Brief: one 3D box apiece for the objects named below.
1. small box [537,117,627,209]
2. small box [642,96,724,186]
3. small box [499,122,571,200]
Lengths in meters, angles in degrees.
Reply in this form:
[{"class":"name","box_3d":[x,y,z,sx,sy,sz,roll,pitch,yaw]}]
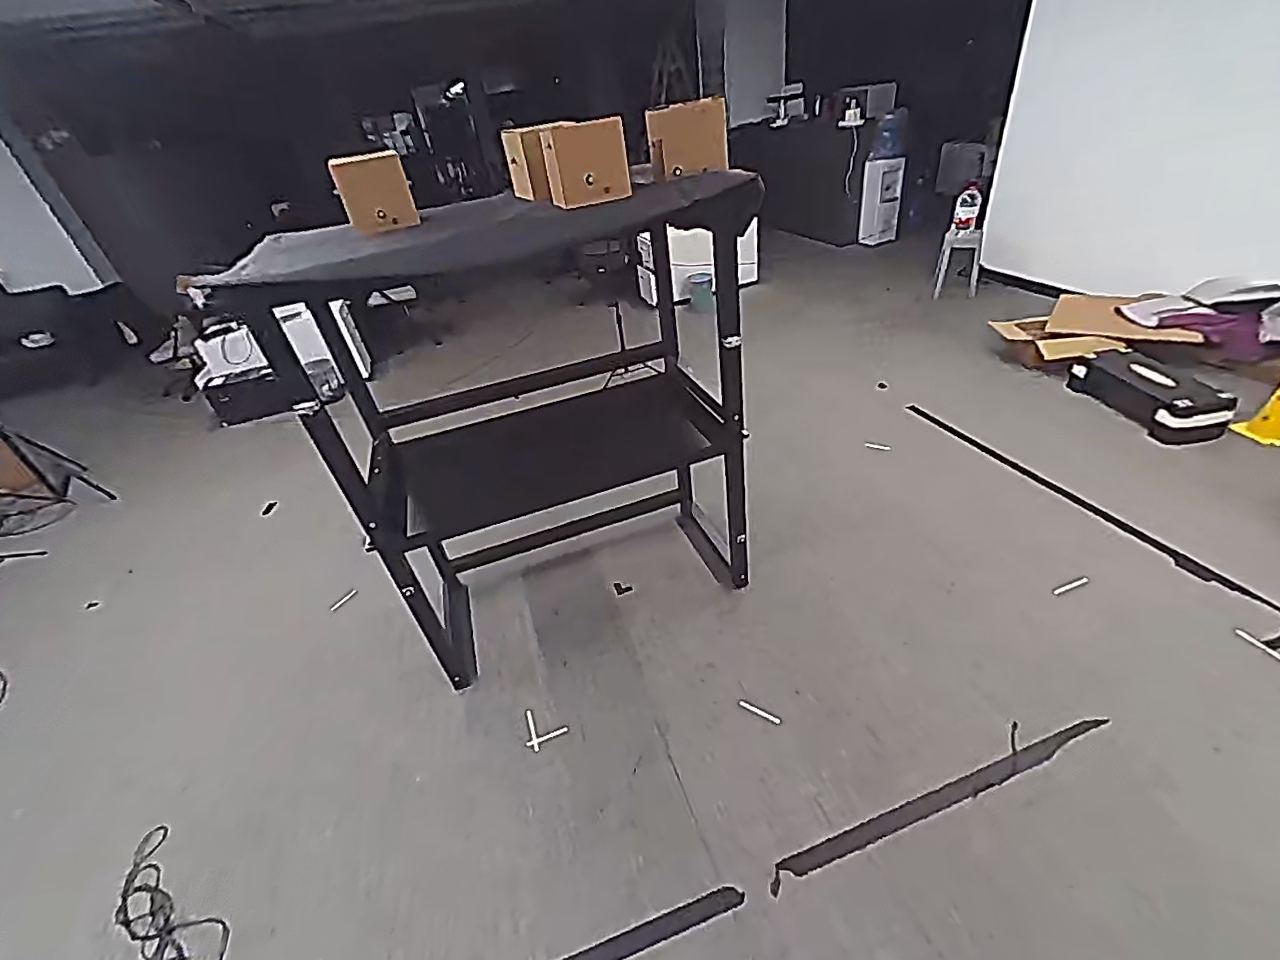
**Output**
[{"class":"small box","box_3d":[-0.140,-0.767,1.313,0.168,0.176,0.179,-18,35,-11]},{"class":"small box","box_3d":[0.110,-0.862,1.381,0.168,0.176,0.179,-13,34,-3]},{"class":"small box","box_3d":[-0.282,-0.905,1.538,0.168,0.176,0.179,-24,38,-18]}]
